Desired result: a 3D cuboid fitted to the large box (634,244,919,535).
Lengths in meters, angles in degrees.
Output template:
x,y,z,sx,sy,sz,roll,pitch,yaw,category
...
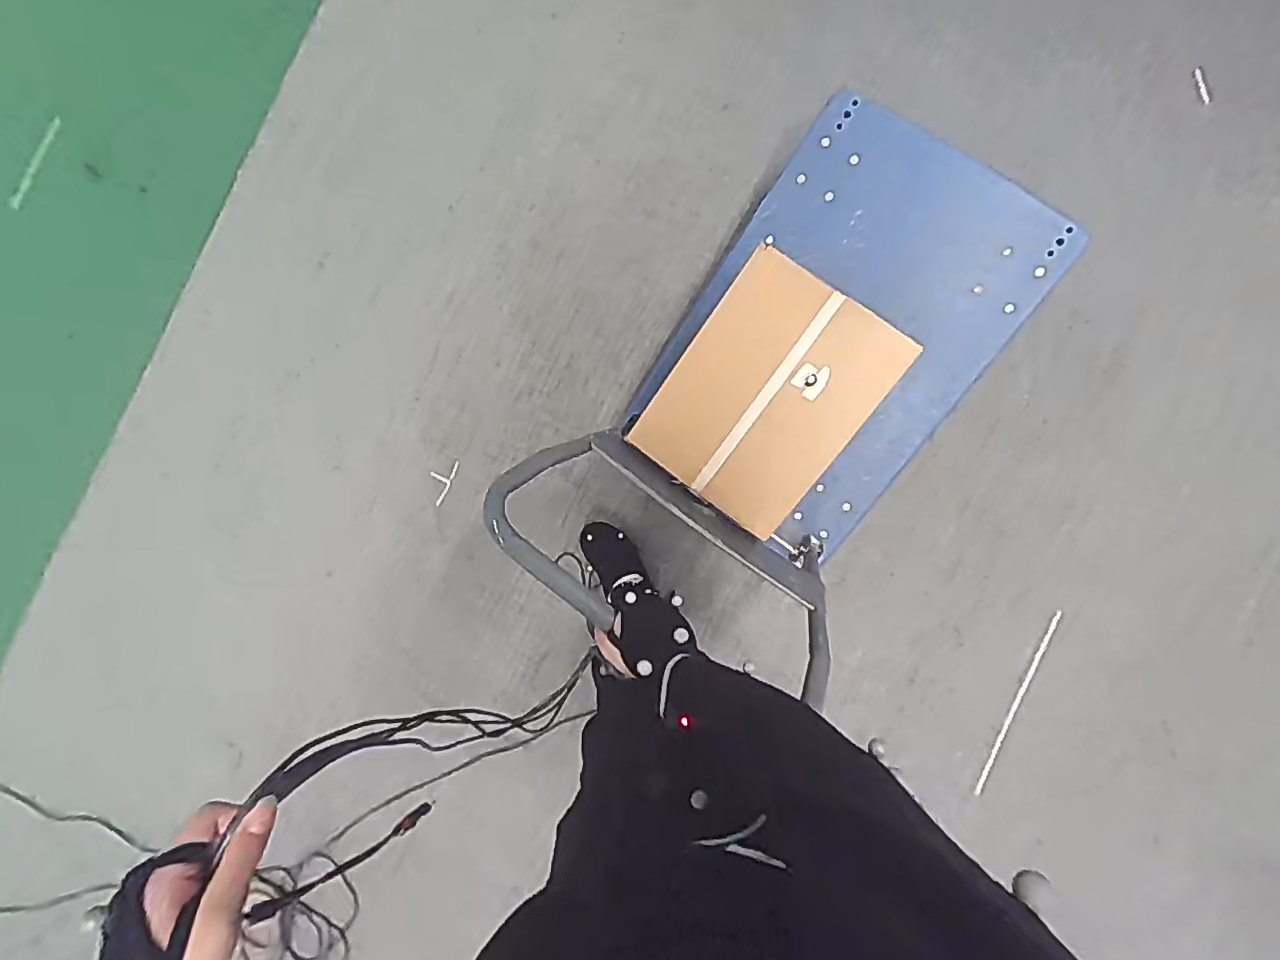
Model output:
x,y,z,sx,sy,sz,roll,pitch,yaw,category
0.252,-0.161,1.064,0.320,0.320,0.408,38,104,7,large box
